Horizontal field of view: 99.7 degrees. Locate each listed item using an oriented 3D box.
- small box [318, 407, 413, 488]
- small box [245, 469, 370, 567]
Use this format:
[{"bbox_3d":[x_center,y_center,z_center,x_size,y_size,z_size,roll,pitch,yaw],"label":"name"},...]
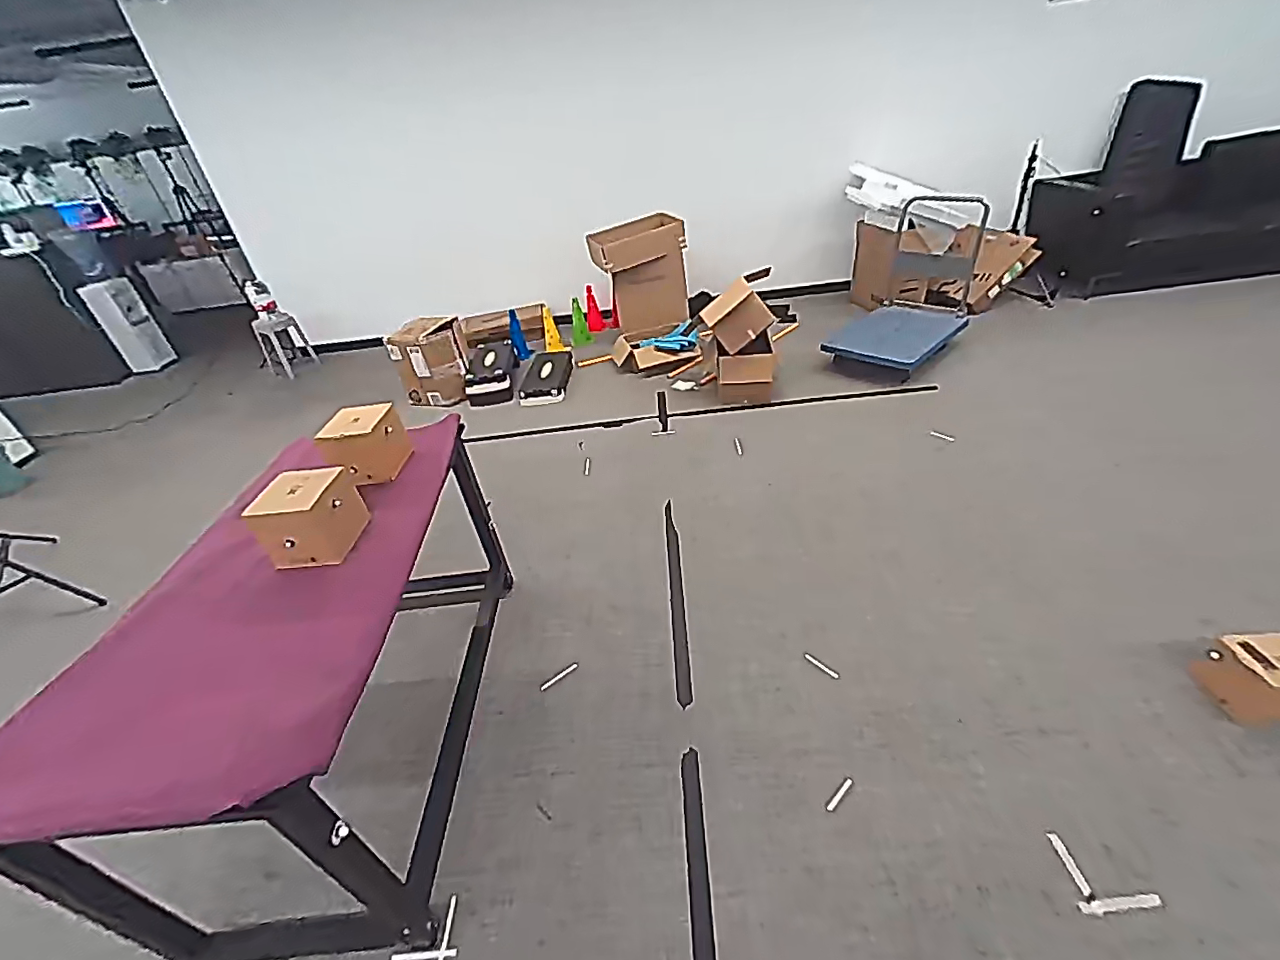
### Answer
[{"bbox_3d":[-0.792,-0.095,1.584,0.168,0.176,0.179,-6,36,5],"label":"small box"},{"bbox_3d":[-0.788,0.097,1.308,0.168,0.176,0.179,-5,34,4],"label":"small box"}]
